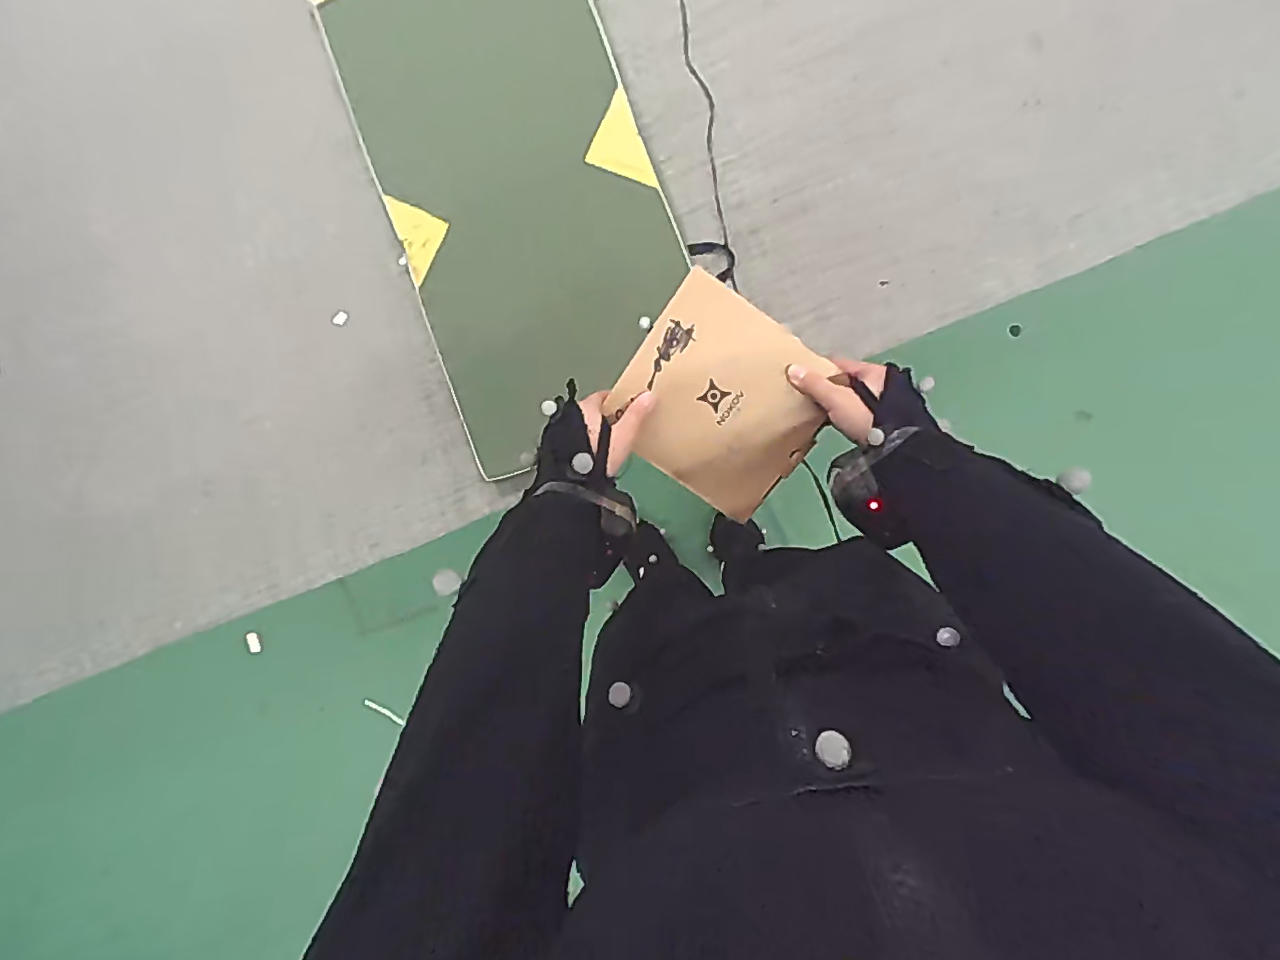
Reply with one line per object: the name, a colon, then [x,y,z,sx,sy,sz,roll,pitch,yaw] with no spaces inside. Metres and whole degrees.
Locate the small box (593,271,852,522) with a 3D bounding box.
small box: [0.078,-0.090,0.561,0.179,0.176,0.168,34,105,-5]
